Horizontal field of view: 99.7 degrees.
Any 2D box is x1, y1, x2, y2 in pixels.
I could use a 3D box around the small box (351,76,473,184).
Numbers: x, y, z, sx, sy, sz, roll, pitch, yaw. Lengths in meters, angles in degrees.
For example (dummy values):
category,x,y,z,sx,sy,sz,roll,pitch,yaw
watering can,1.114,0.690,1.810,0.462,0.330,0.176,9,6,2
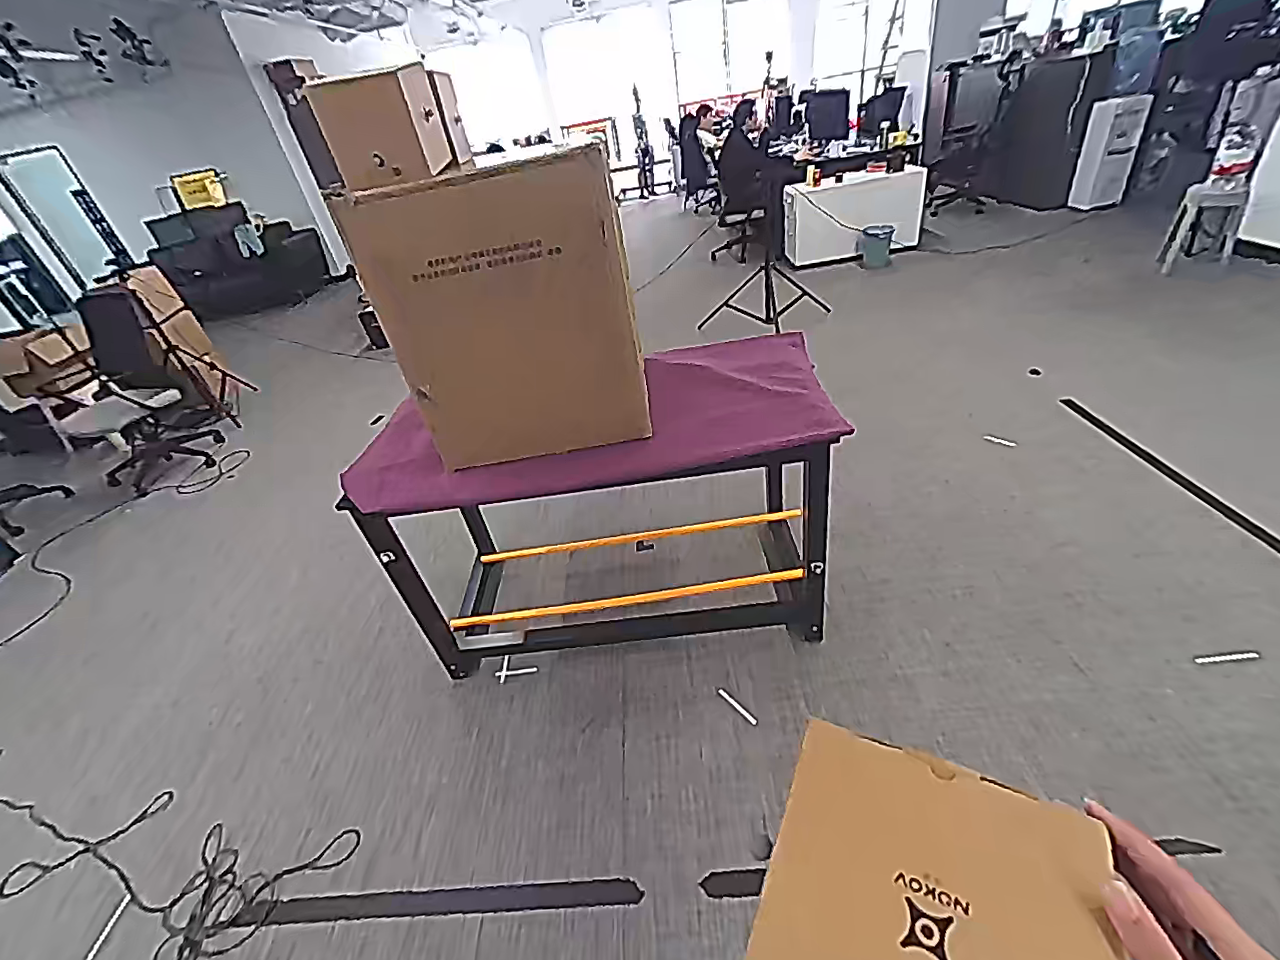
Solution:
category,x,y,z,sx,sy,sz,roll,pitch,yaw
small box,-0.483,-0.761,1.178,0.179,0.176,0.168,-9,35,2
